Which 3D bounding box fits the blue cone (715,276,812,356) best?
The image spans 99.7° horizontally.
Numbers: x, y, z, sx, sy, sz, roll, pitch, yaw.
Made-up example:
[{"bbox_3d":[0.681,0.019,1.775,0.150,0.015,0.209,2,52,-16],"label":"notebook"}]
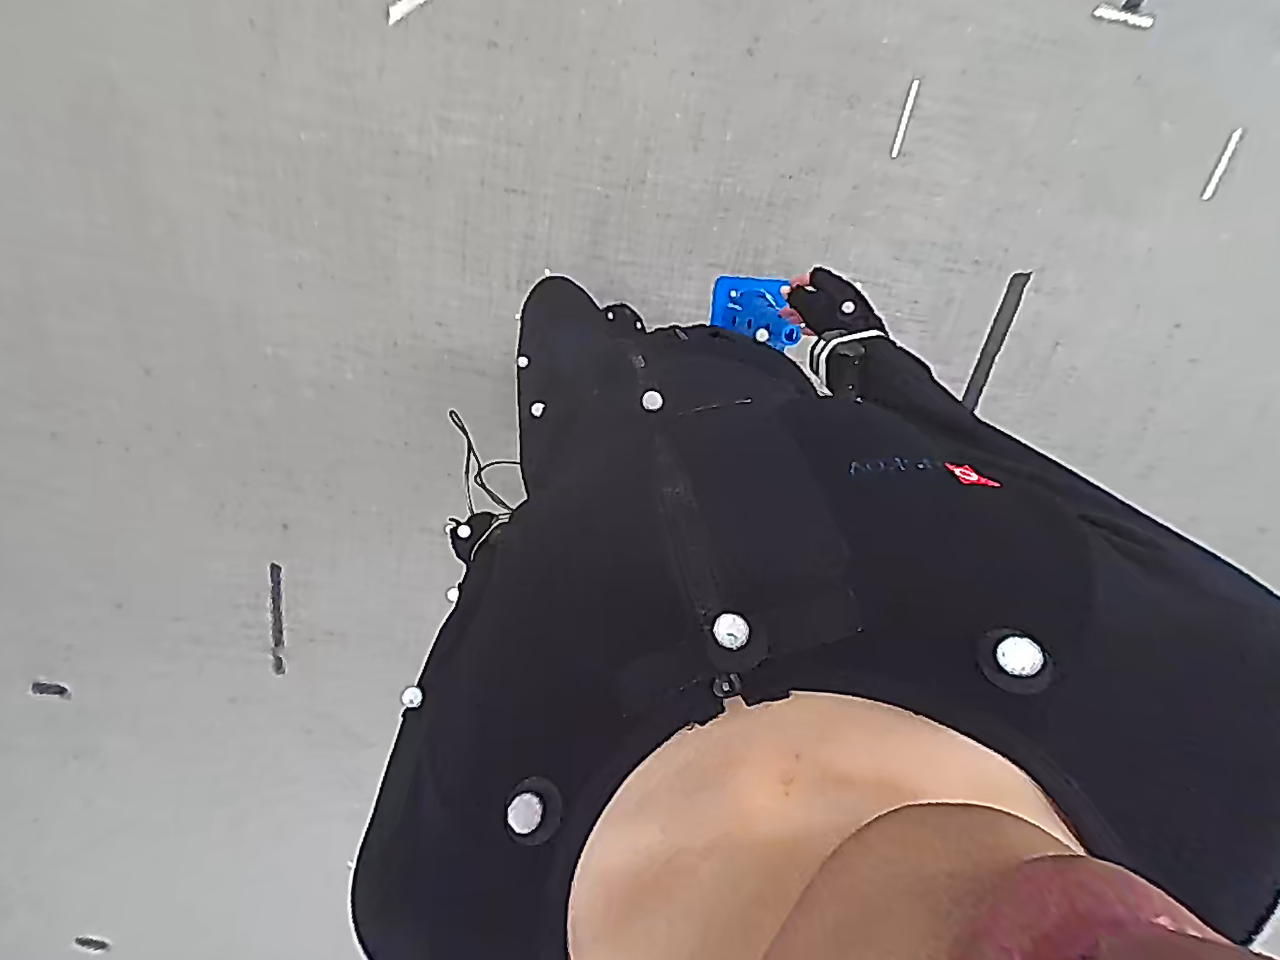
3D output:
[{"bbox_3d":[0.293,-0.351,1.203,0.192,0.380,0.193,3,111,-4],"label":"blue cone"}]
